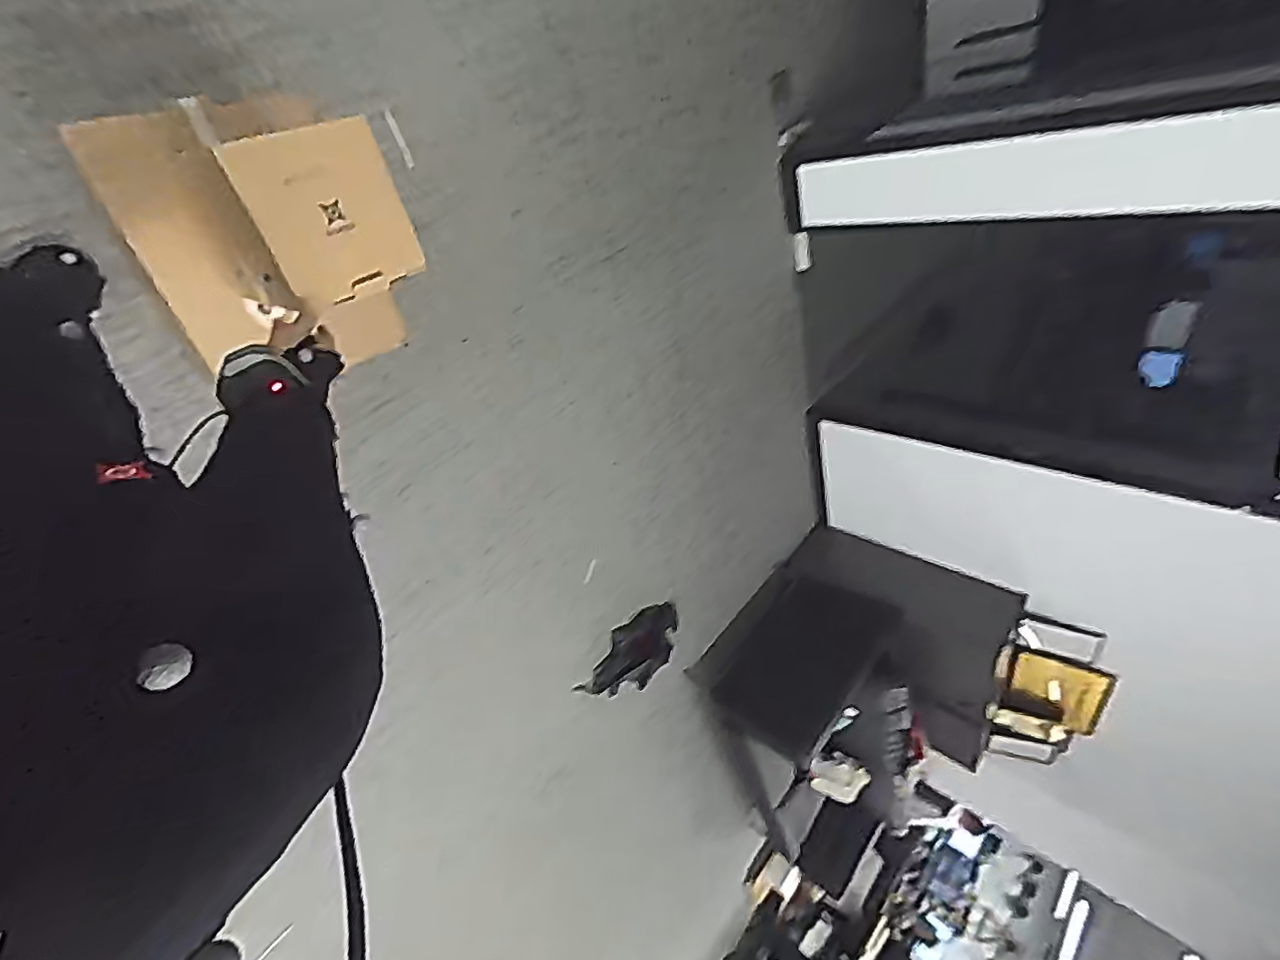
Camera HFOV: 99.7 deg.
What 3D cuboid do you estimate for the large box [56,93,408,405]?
[{"bbox_3d":[-0.693,-0.402,0.954,0.320,0.320,0.408,-35,130,-31],"label":"large box"}]

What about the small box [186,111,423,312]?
[{"bbox_3d":[-0.409,-0.328,0.668,0.168,0.176,0.179,-39,131,-30],"label":"small box"}]
